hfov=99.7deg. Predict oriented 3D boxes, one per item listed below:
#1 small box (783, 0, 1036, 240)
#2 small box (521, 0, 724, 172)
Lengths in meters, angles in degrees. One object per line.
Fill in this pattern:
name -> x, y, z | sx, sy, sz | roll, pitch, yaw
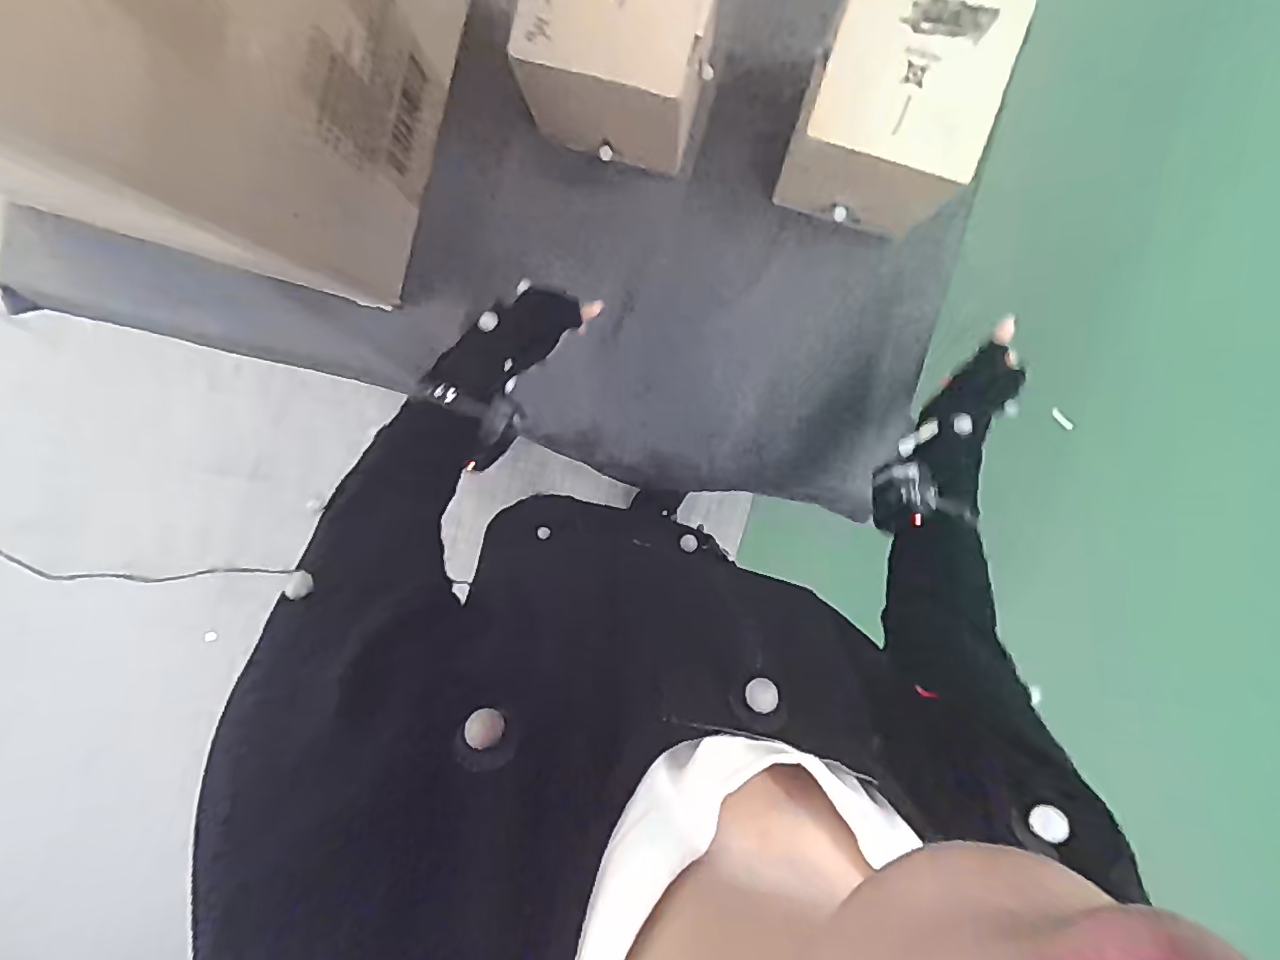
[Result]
small box -> 0.271, -0.396, 0.592 | 0.168, 0.176, 0.179 | 18, 97, 1
small box -> -0.011, -0.472, 0.596 | 0.179, 0.176, 0.168 | 15, 96, -1
